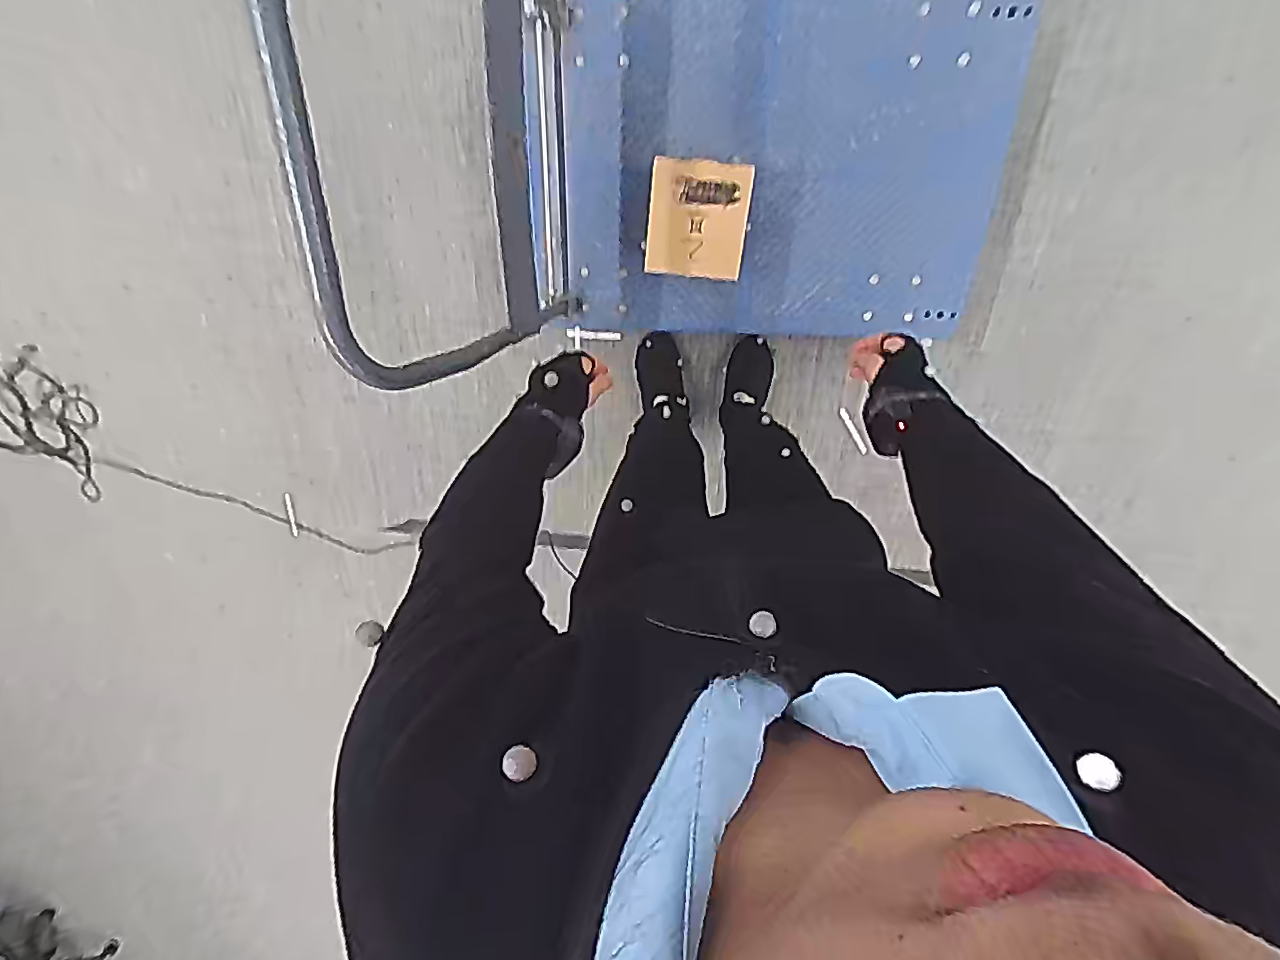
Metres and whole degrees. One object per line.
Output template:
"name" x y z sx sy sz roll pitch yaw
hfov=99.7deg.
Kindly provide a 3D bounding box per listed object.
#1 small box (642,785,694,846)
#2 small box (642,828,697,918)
"small box" 0.105 1.223 1.931 0.168 0.176 0.179 -7 113 7
"small box" 0.099 1.296 1.785 0.168 0.176 0.179 5 114 3
